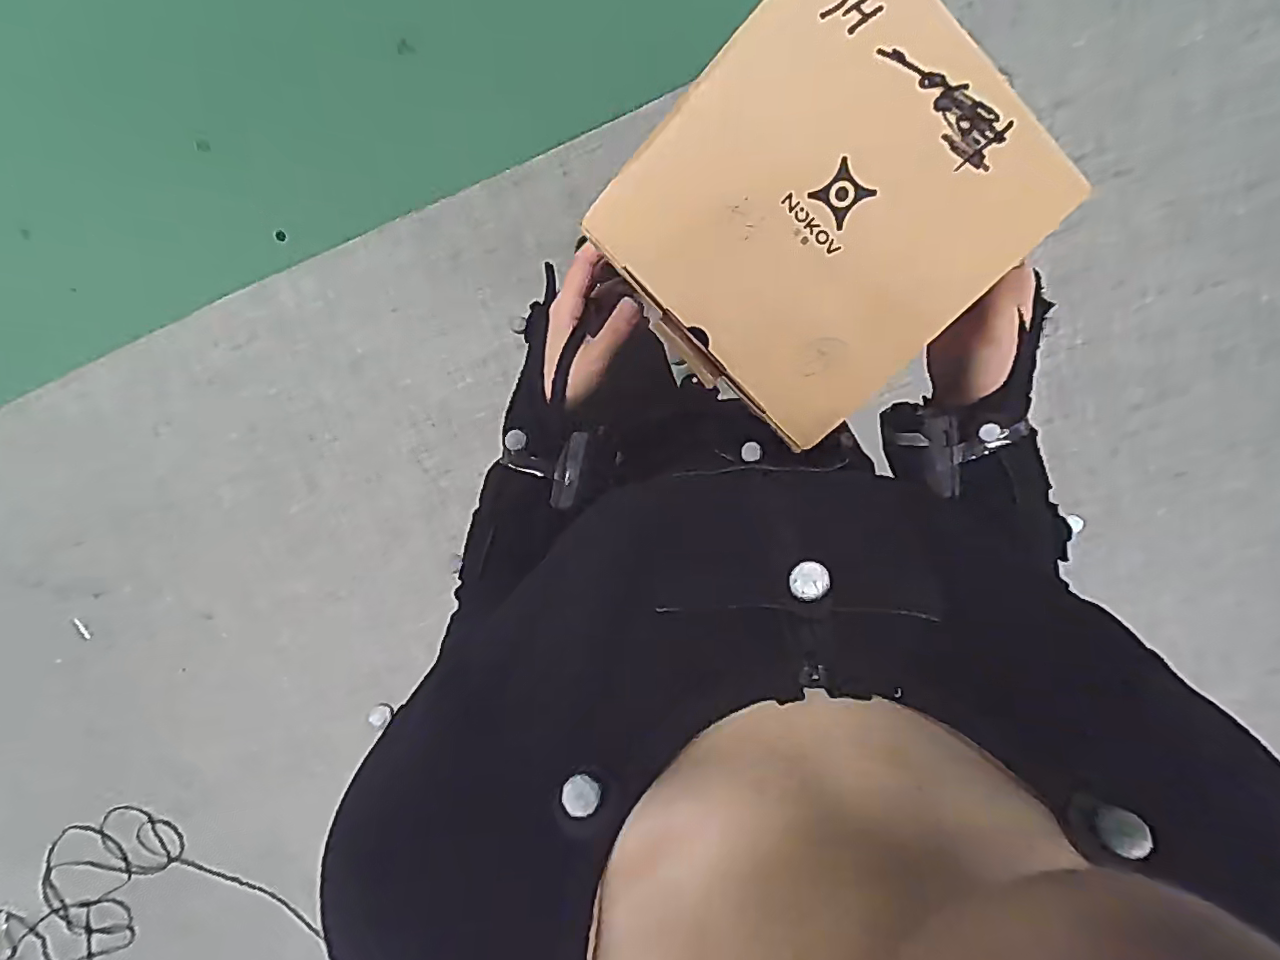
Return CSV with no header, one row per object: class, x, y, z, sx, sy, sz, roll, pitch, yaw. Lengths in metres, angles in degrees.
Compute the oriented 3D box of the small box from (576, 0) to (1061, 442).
small box,0.090,-0.152,0.341,0.168,0.176,0.179,44,104,-7
